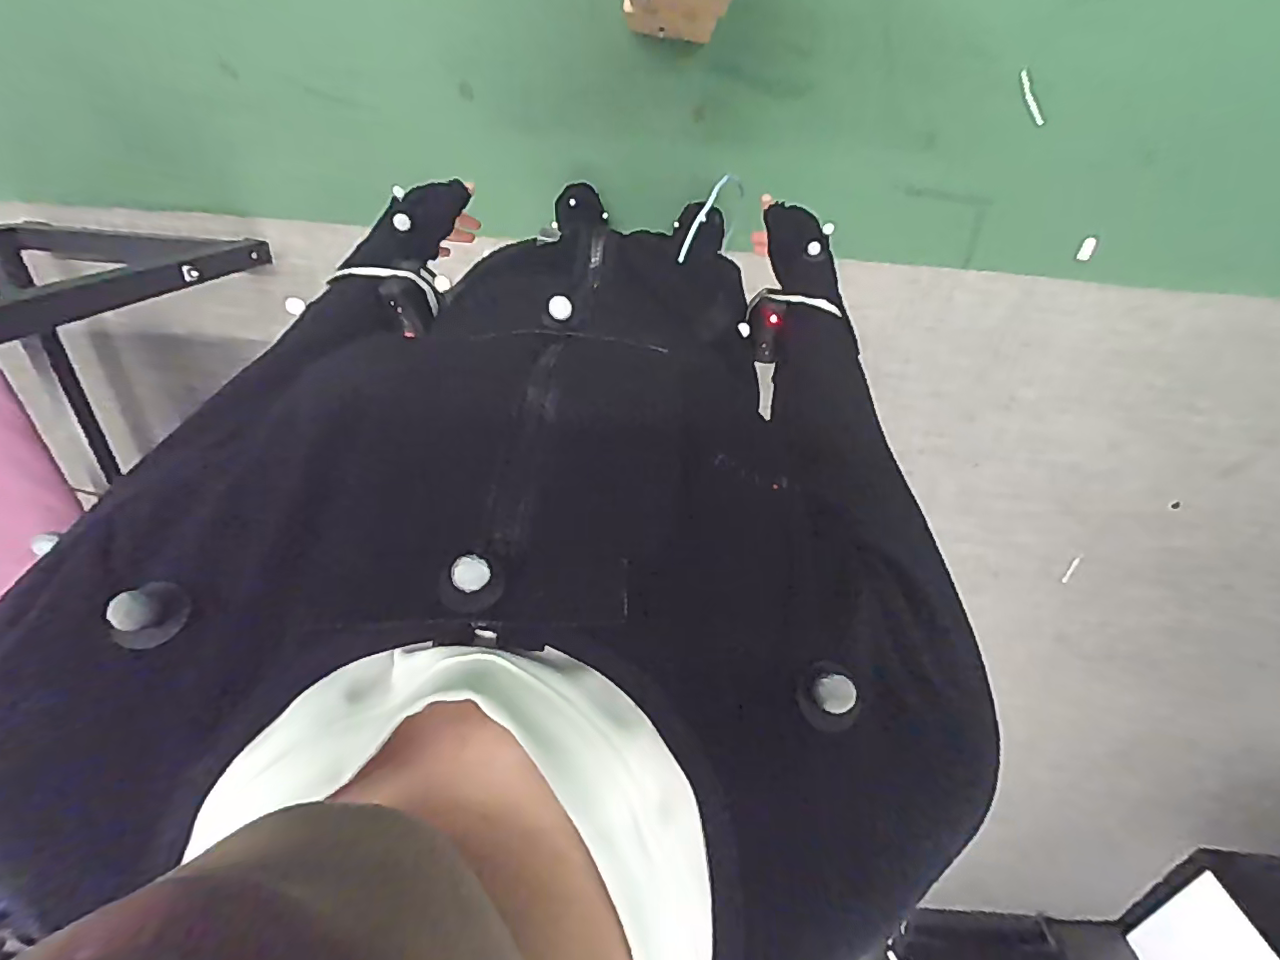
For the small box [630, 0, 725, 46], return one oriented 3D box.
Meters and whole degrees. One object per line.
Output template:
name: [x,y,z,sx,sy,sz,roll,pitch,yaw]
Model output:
small box: [0.074,-0.920,0.979,0.168,0.176,0.179,7,121,-3]
